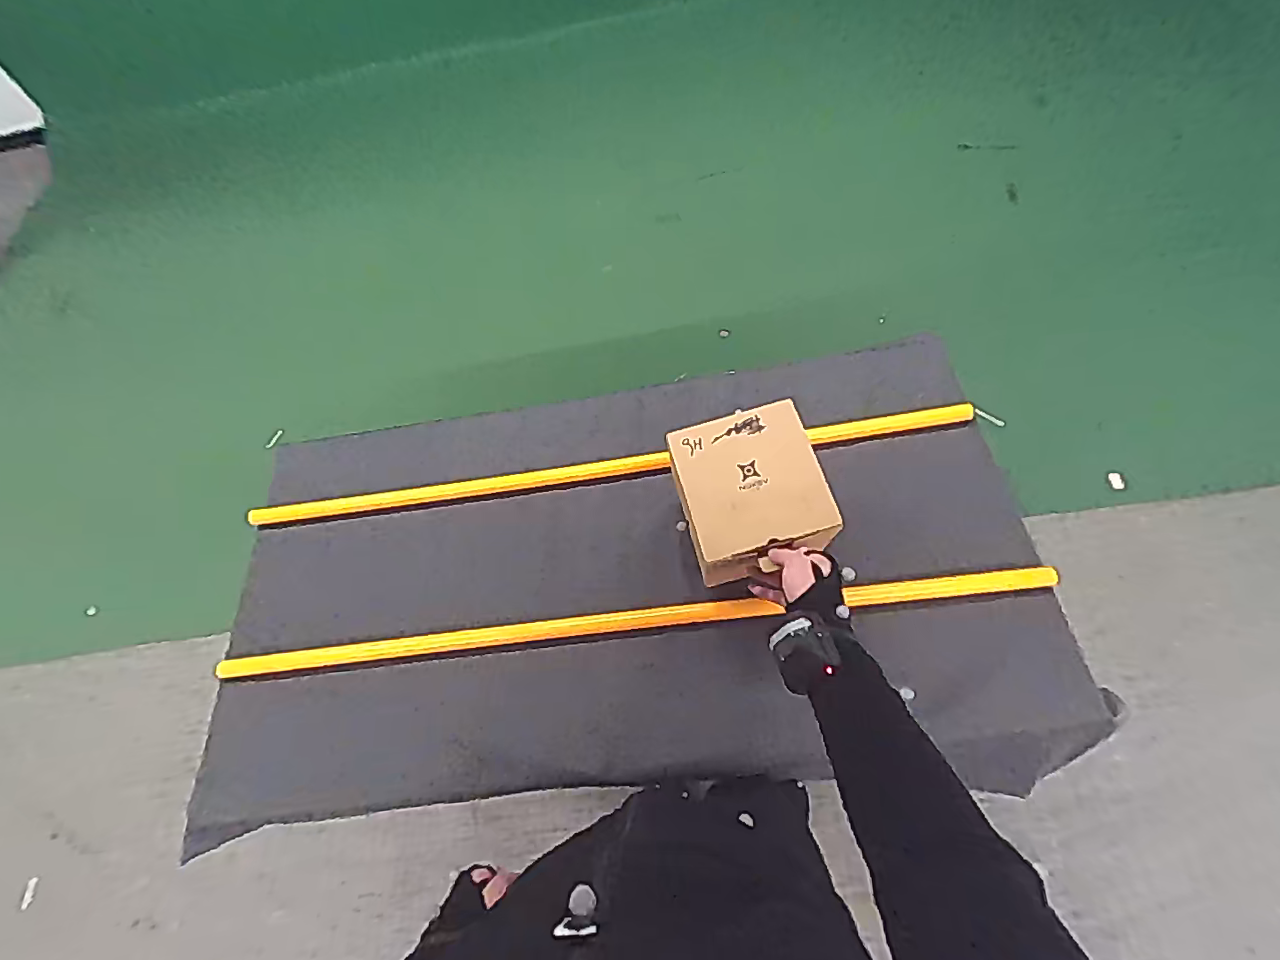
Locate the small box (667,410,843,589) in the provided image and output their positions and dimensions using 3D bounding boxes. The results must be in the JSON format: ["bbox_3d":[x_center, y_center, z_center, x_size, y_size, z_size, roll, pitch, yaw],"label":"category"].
[{"bbox_3d":[0.148,0.039,0.727,0.168,0.176,0.179,-20,68,2],"label":"small box"}]
